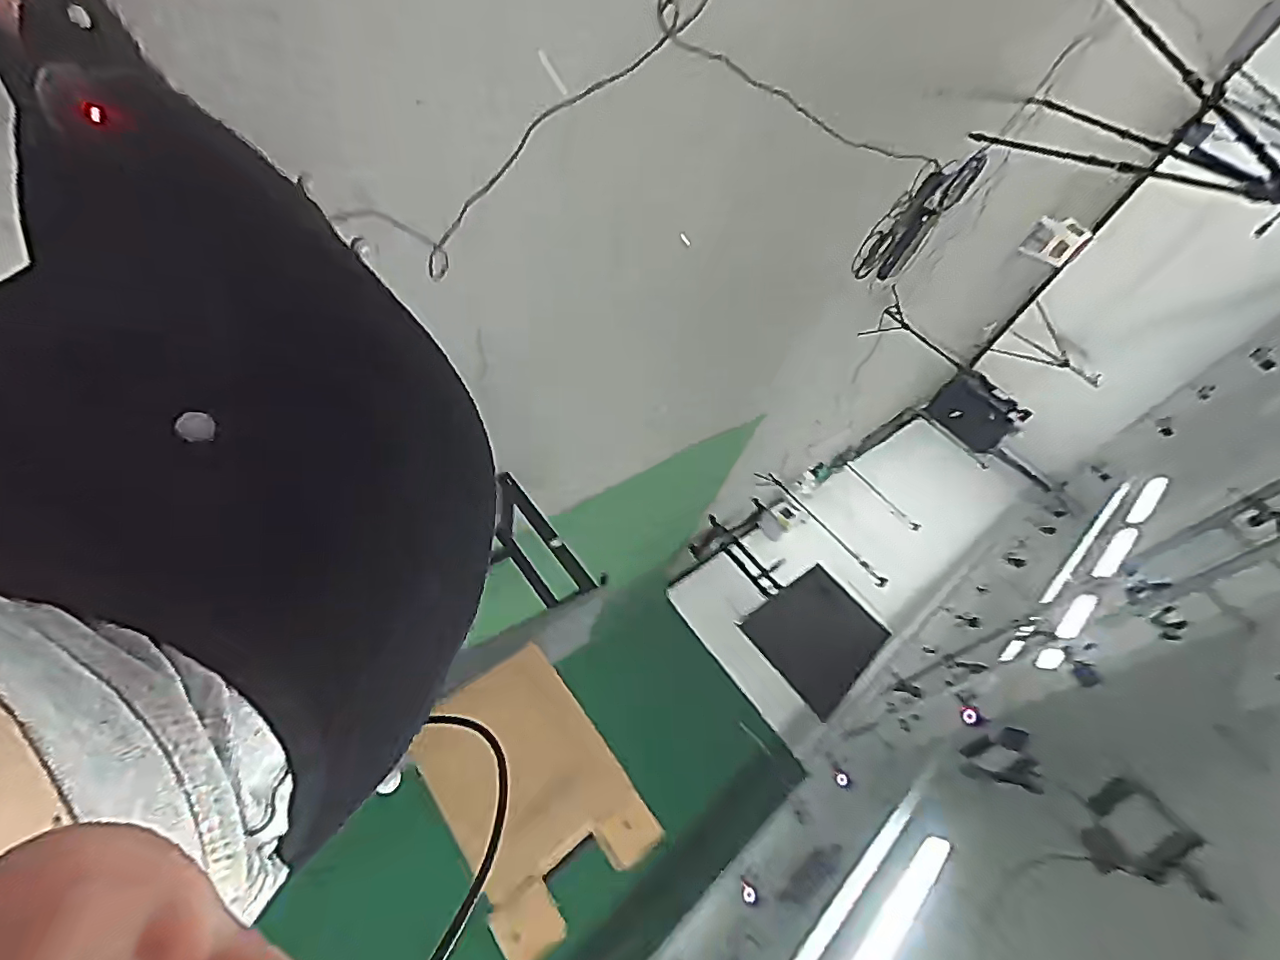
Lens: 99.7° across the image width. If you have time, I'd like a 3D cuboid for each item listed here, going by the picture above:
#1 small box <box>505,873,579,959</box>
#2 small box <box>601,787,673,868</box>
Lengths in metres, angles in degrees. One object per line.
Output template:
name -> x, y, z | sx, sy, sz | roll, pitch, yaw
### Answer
small box -> -0.302, 1.353, 1.663 | 0.168, 0.176, 0.179 | -31, 157, -23
small box -> -0.017, 1.198, 1.871 | 0.168, 0.176, 0.179 | -30, 155, -32
